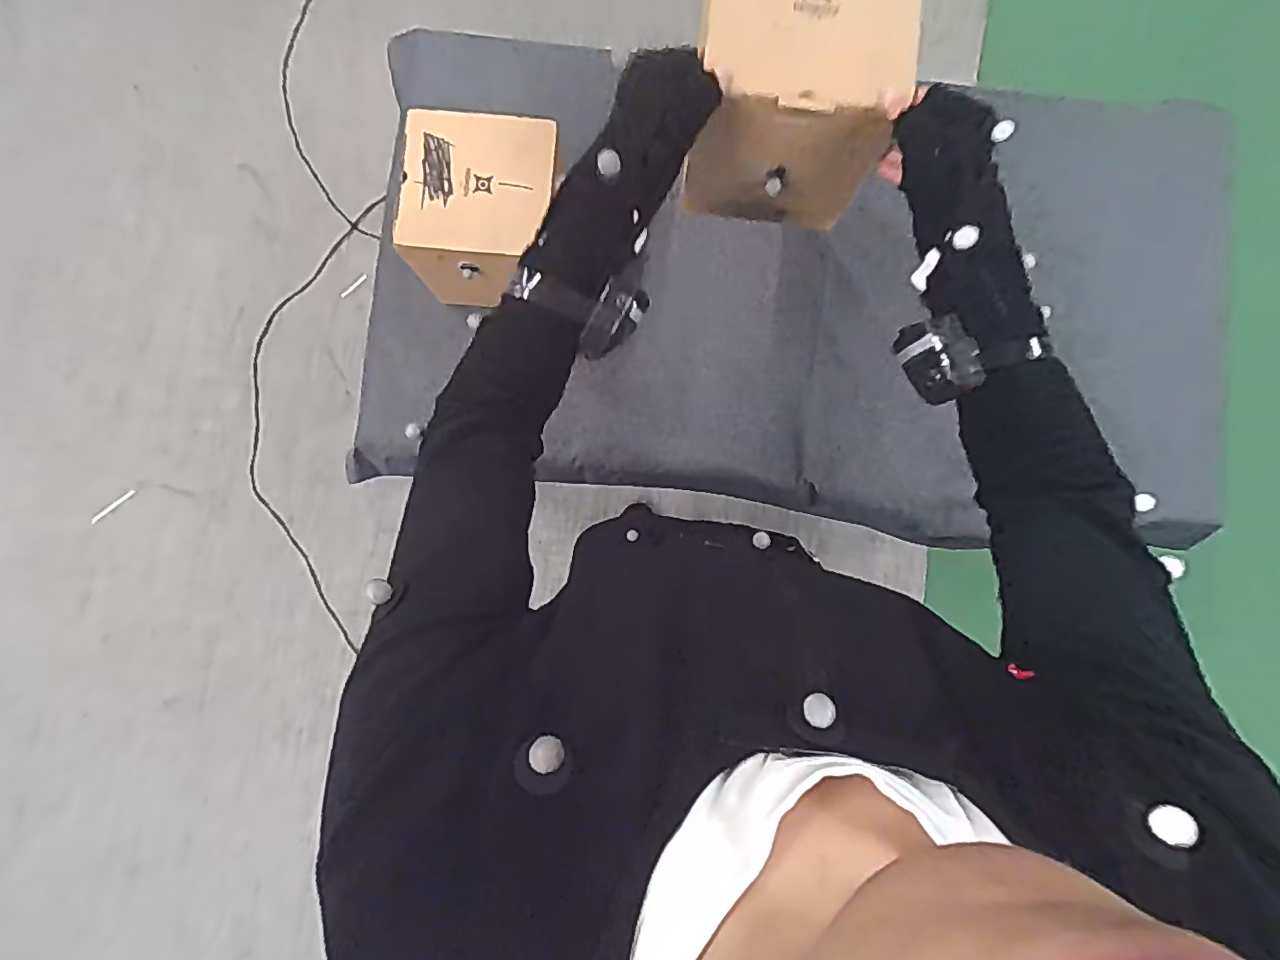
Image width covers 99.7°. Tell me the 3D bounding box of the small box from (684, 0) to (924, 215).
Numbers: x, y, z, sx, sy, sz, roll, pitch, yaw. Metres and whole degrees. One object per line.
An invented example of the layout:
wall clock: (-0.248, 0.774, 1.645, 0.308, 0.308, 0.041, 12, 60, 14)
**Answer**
small box: (0.134, -0.370, 0.491, 0.168, 0.176, 0.179, 7, 88, -1)

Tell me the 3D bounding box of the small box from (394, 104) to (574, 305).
small box: (-0.187, -0.338, 0.694, 0.179, 0.176, 0.168, 5, 87, -1)
